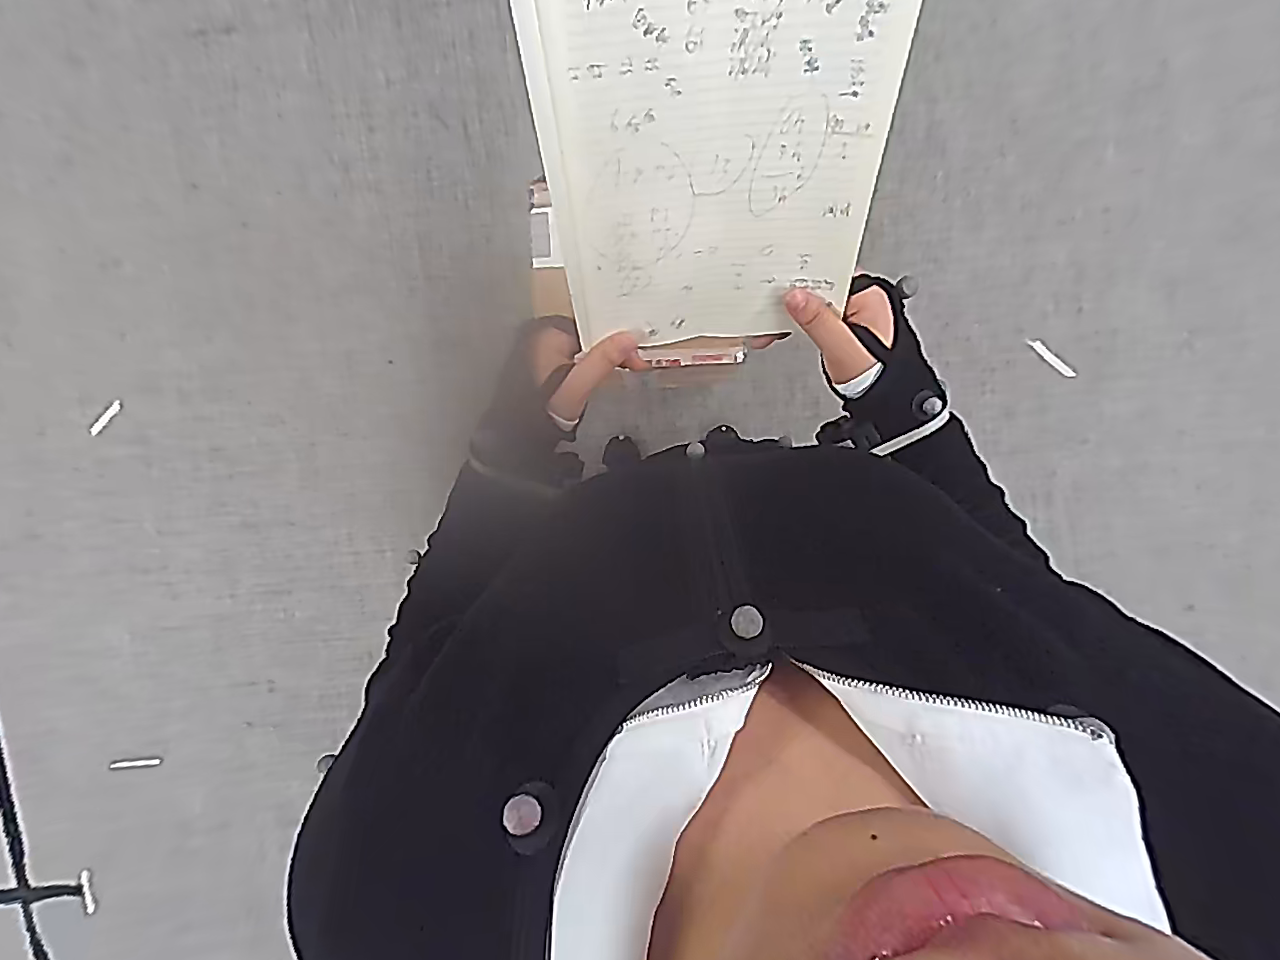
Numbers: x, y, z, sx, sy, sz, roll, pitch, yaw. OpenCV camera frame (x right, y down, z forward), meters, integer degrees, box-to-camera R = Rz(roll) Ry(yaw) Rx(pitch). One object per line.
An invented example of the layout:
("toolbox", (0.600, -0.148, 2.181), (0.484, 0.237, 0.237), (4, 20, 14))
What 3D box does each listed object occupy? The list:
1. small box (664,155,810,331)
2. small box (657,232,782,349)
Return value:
("small box", (0.126, -0.318, 0.756), (0.168, 0.176, 0.179), (-6, 95, -1))
("small box", (0.127, -0.325, 0.920), (0.179, 0.176, 0.168), (-8, 95, 1))
